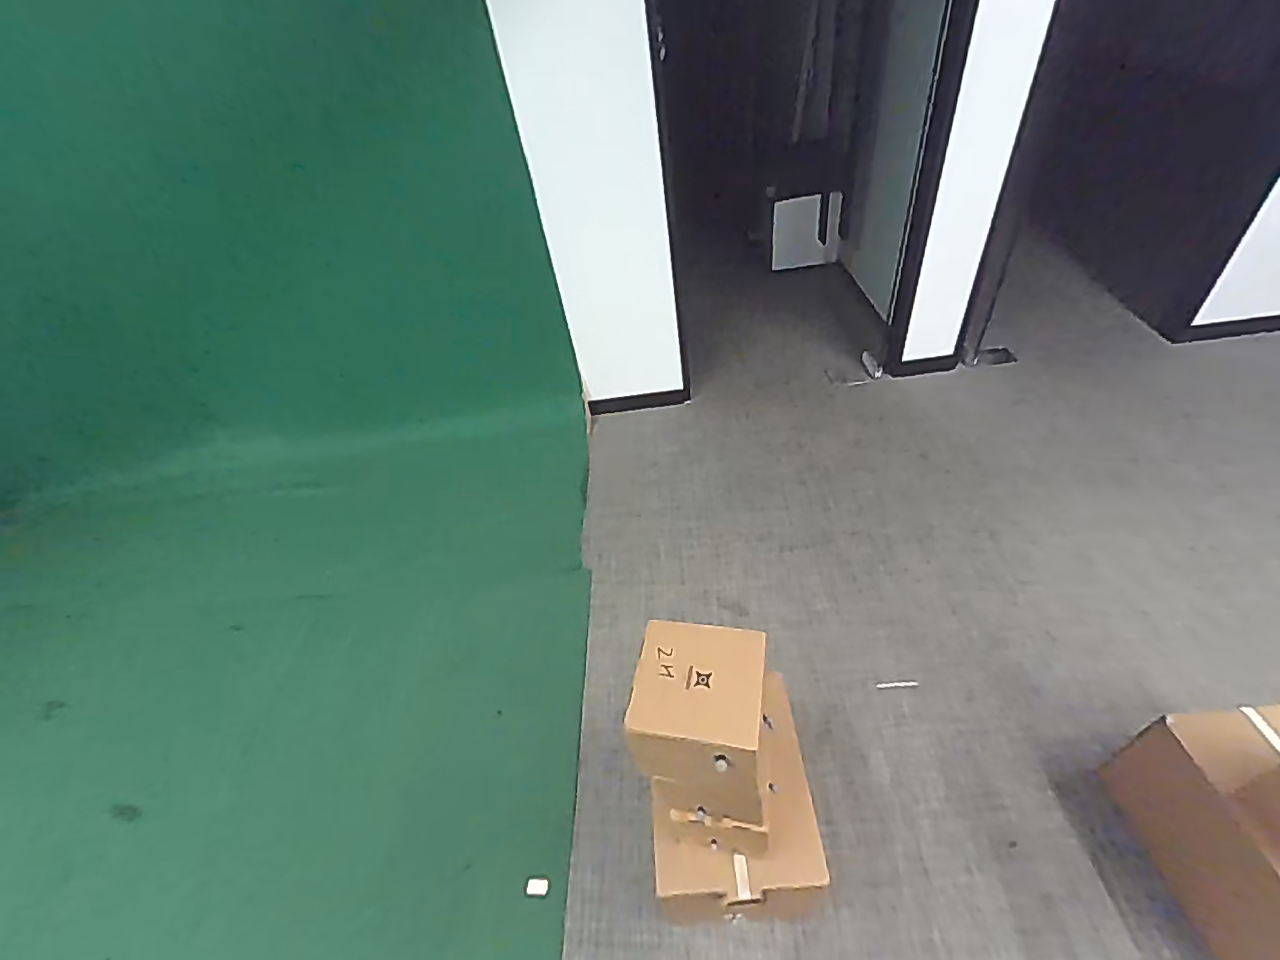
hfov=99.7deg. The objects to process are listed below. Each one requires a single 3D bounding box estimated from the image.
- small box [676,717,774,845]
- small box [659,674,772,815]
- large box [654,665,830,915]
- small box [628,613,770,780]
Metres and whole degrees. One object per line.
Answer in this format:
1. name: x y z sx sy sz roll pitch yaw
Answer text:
1. small box: 0.164 0.554 1.015 0.168 0.176 0.179 -1 45 13
2. small box: 0.133 0.433 0.911 0.168 0.176 0.179 1 46 16
3. large box: 0.207 0.691 1.218 0.320 0.320 0.408 -8 42 5
4. small box: 0.097 0.320 0.796 0.179 0.176 0.168 2 45 16
